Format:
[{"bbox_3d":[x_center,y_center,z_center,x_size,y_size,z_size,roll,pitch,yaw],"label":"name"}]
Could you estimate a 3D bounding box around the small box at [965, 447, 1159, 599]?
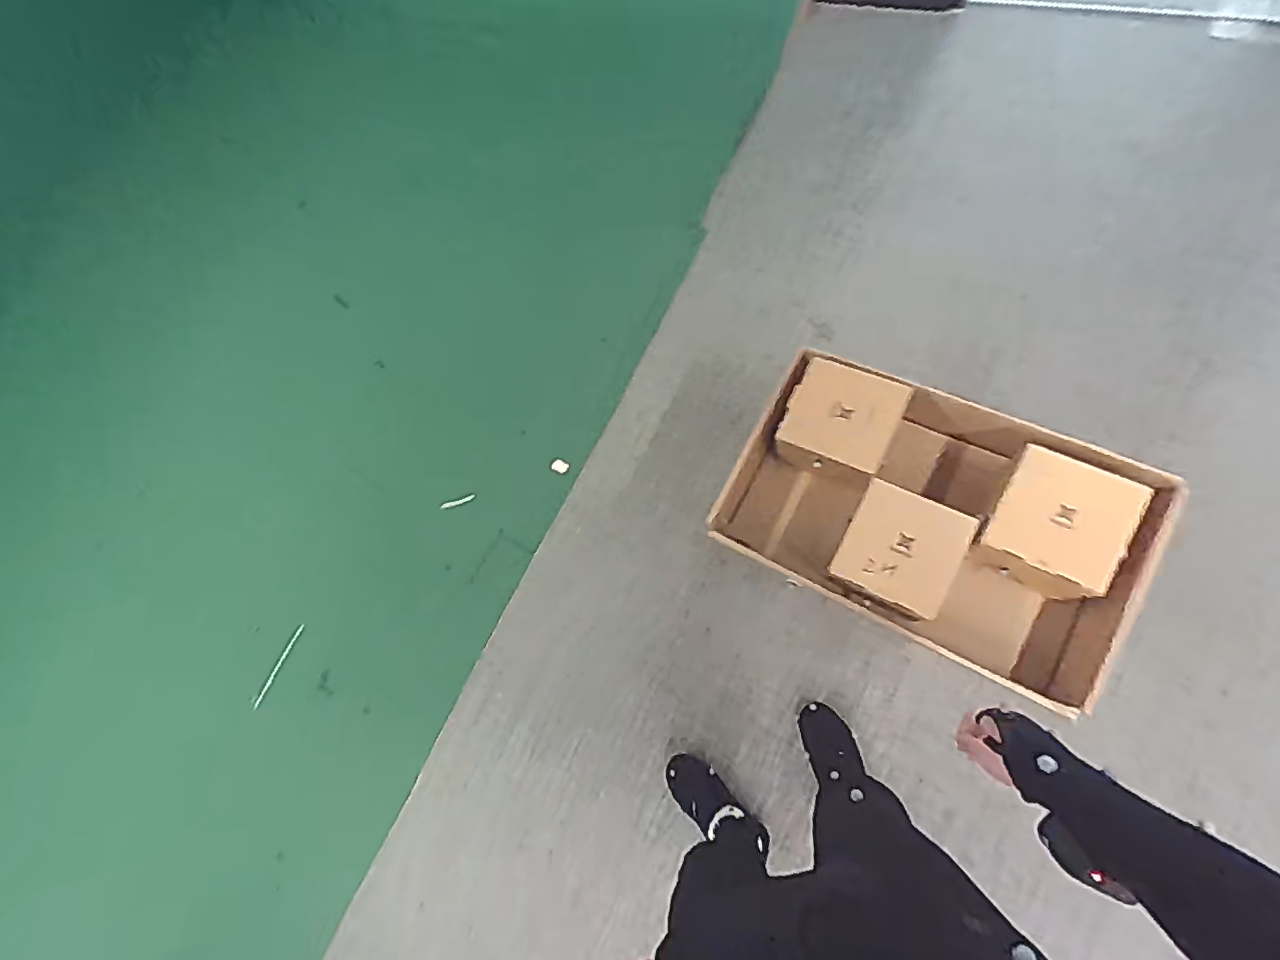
[{"bbox_3d":[0.658,0.076,0.870,0.168,0.176,0.179,28,86,21],"label":"small box"}]
